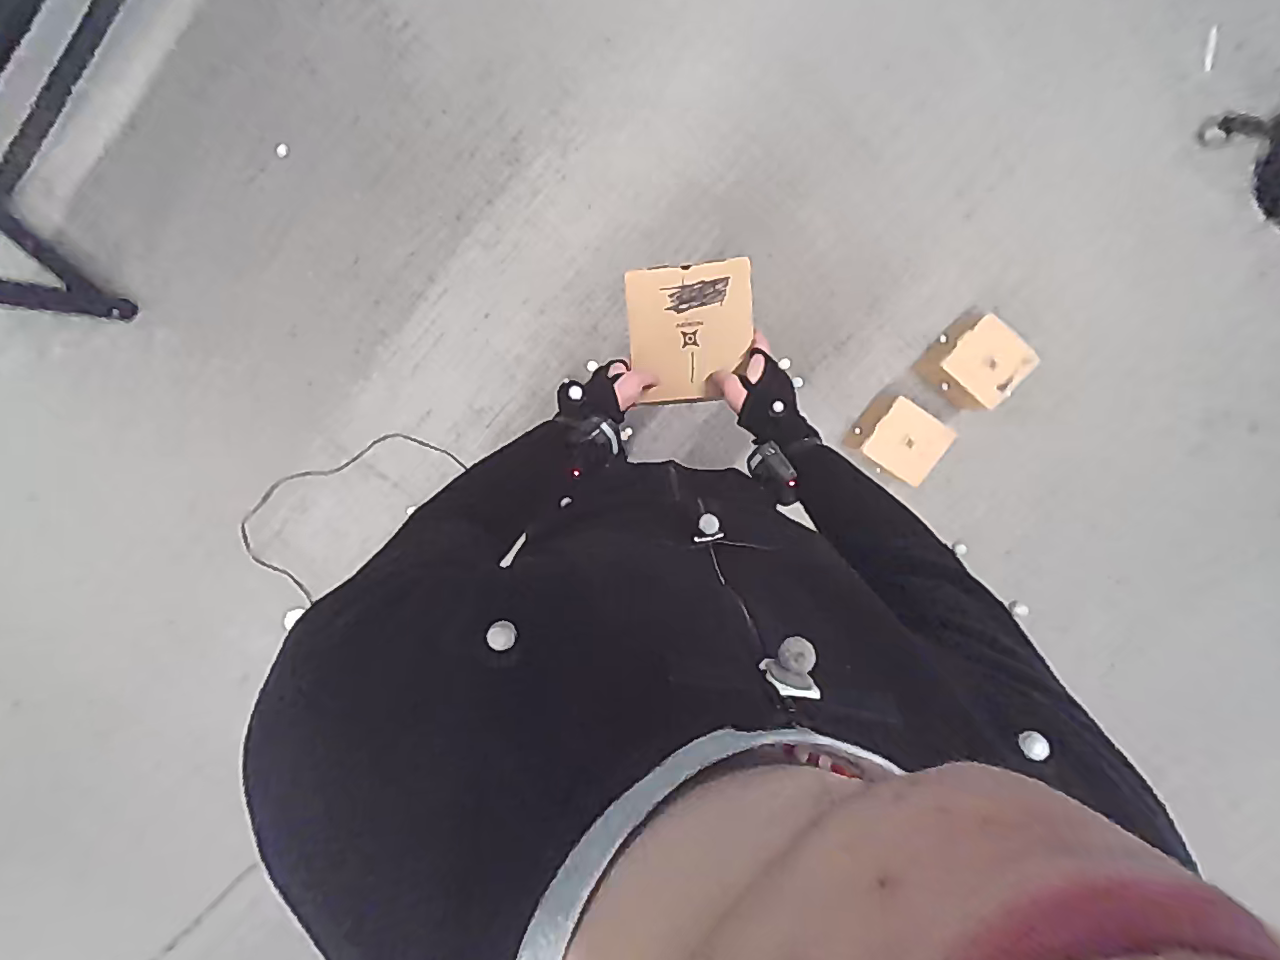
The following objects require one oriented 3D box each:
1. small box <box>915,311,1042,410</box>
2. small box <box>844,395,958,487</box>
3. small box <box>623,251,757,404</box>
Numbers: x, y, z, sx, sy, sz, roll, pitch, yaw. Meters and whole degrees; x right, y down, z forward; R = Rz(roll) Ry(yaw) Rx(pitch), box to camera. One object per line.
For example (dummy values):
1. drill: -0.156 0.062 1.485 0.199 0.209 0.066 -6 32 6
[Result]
1. small box: 0.835 -0.290 1.356 0.179 0.176 0.168 41 99 -3
2. small box: 0.661 -0.106 1.396 0.179 0.176 0.168 33 101 -4
3. small box: 0.073 -0.203 0.768 0.168 0.176 0.179 -4 97 8
